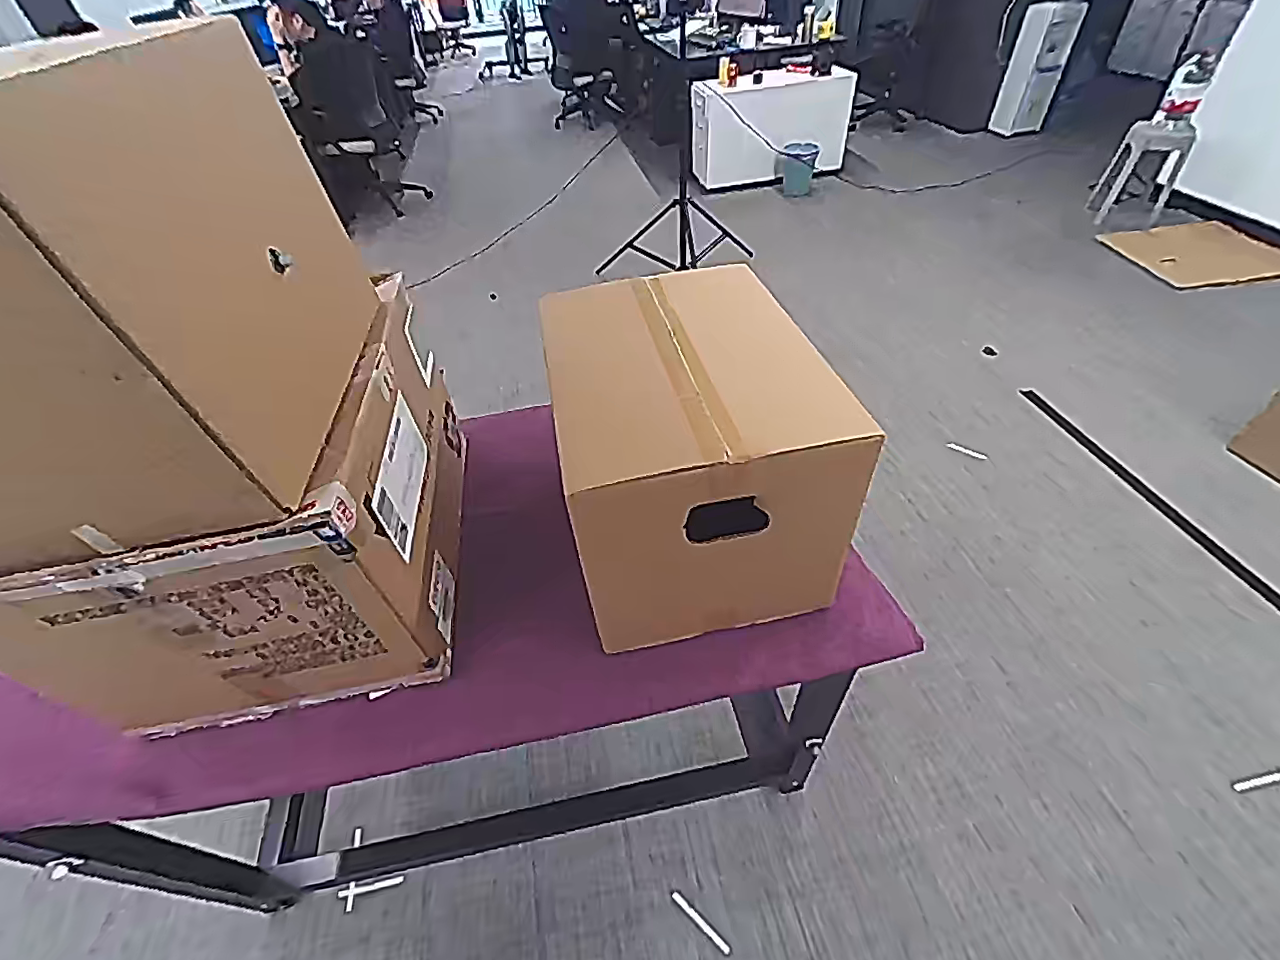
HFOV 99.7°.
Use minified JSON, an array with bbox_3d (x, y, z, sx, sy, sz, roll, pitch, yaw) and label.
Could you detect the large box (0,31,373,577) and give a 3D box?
[{"bbox_3d":[-0.498,-0.180,0.511,0.320,0.320,0.408,-13,46,-1],"label":"large box"}]
